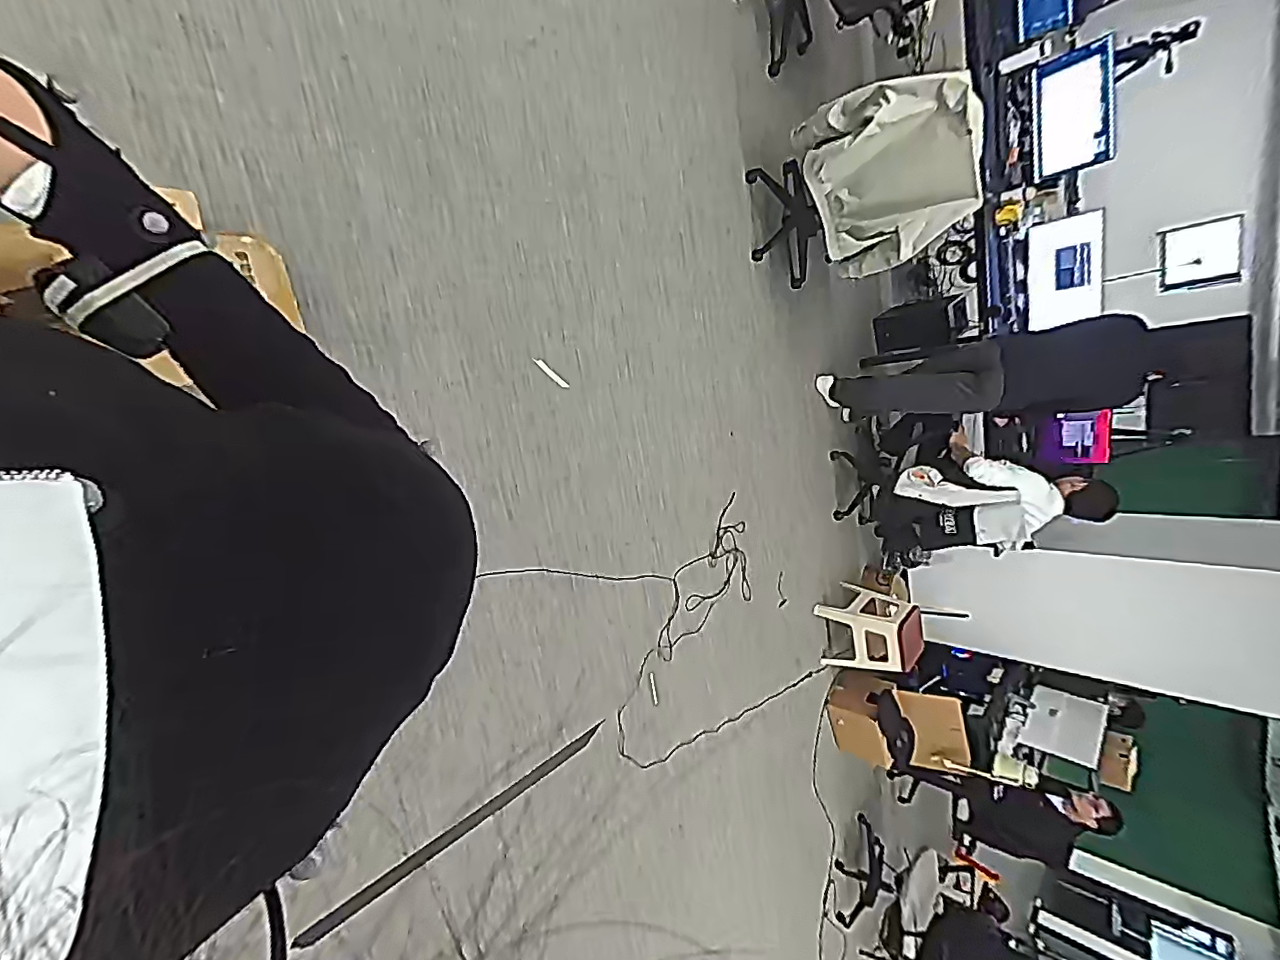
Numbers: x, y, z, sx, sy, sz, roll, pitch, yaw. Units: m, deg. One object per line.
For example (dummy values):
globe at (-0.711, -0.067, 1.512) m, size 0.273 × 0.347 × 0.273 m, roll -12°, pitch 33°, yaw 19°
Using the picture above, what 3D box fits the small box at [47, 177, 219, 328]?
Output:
small box at (-0.805, -0.349, 0.865) m, size 0.168 × 0.176 × 0.179 m, roll -16°, pitch 102°, yaw -43°

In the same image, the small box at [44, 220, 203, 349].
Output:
small box at (-0.926, -0.346, 0.976) m, size 0.168 × 0.176 × 0.179 m, roll -21°, pitch 105°, yaw -42°
